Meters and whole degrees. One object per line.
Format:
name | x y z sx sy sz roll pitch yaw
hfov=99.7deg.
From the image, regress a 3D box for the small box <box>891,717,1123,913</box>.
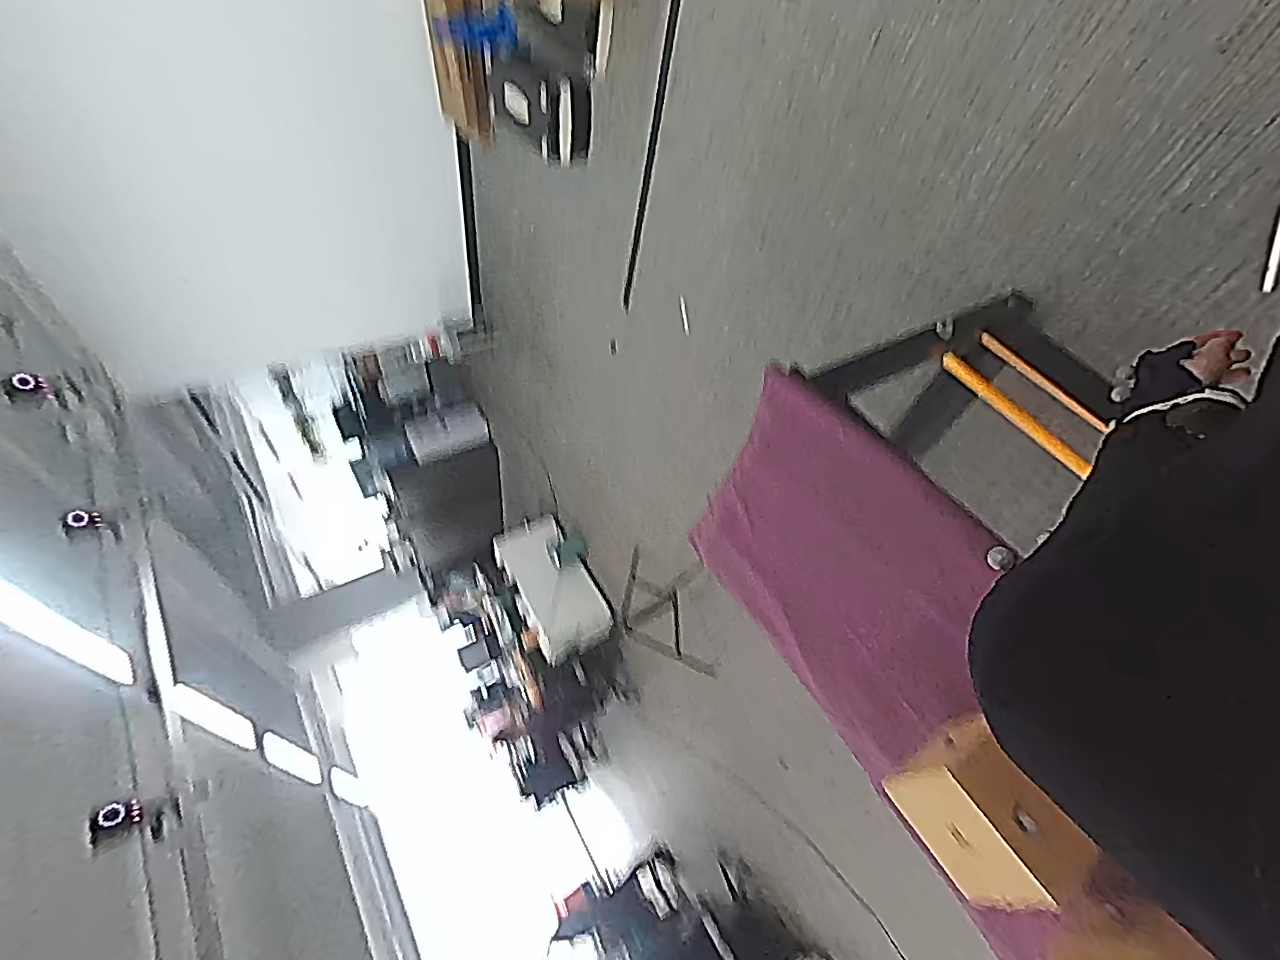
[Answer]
small box | 0.511 0.463 0.767 0.179 0.176 0.168 53 151 26
